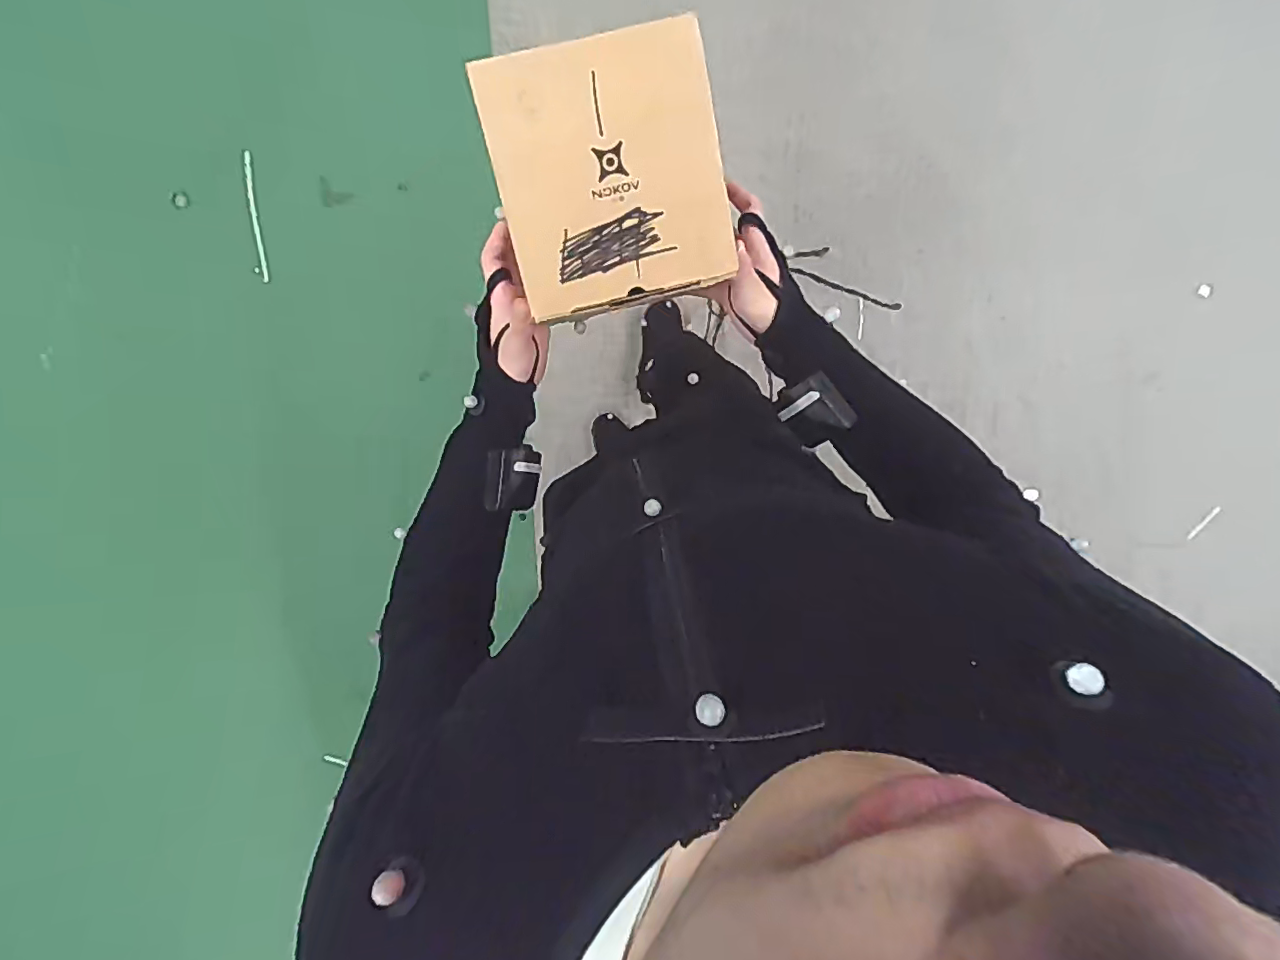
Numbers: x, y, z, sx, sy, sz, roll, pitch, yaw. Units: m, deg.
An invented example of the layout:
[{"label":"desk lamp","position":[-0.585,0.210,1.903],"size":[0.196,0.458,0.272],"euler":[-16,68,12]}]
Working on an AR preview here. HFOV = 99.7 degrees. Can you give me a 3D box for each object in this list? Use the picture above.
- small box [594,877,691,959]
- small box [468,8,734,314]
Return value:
[{"label":"small box","position":[0.005,0.860,0.966],"size":[0.168,0.176,0.179],"euler":[-3,101,-4]},{"label":"small box","position":[-0.027,-0.247,0.469],"size":[0.168,0.176,0.179],"euler":[-13,105,-1]}]
